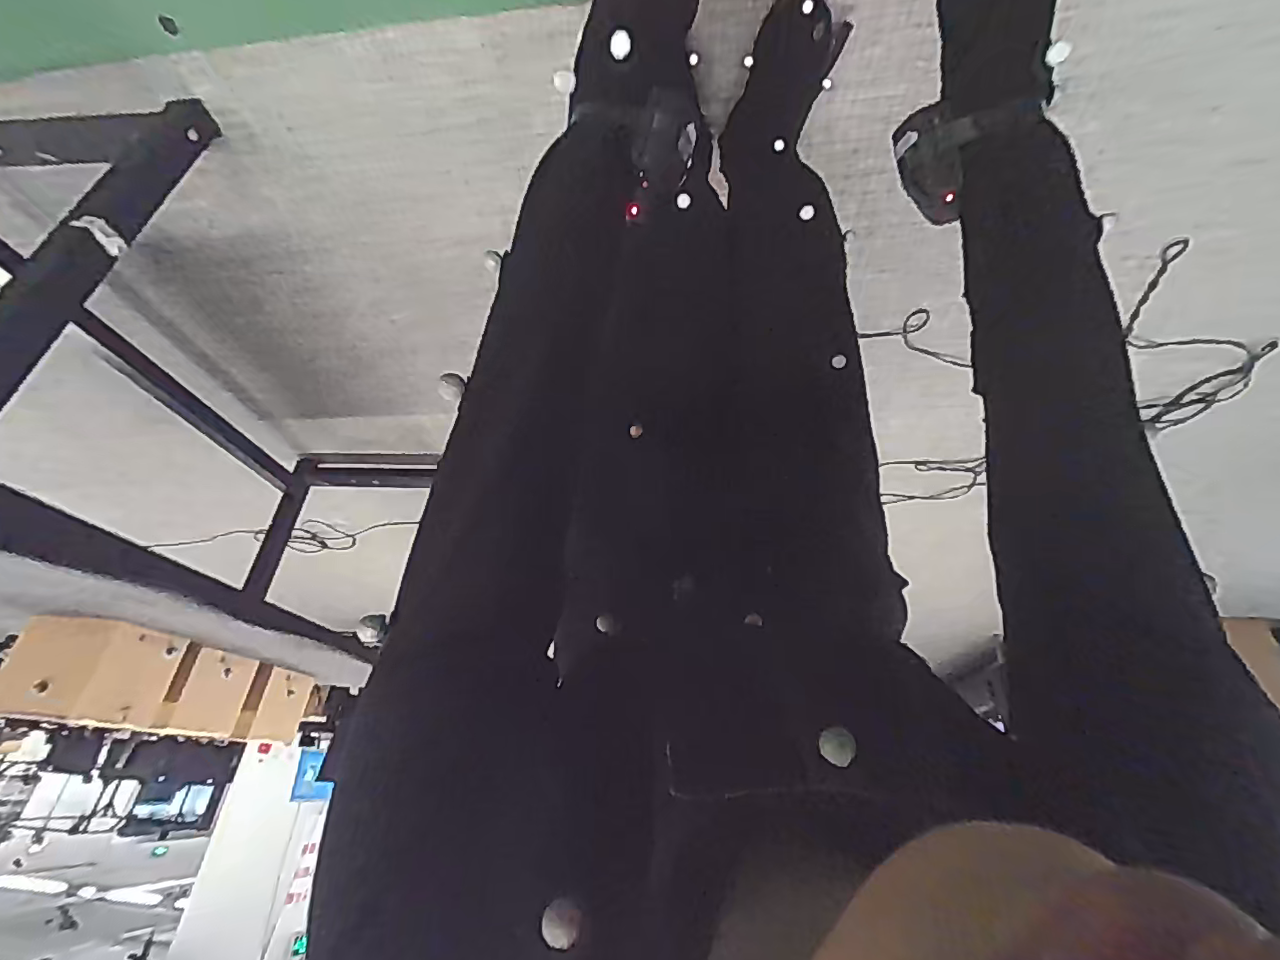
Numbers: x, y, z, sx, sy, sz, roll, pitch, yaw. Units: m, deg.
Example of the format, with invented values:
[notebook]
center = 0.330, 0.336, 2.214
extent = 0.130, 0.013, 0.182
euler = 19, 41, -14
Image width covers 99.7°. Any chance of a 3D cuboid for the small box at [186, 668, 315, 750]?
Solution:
[small box]
center = -0.971, 0.577, 1.366
extent = 0.179, 0.176, 0.168
euler = 0, 150, 8
